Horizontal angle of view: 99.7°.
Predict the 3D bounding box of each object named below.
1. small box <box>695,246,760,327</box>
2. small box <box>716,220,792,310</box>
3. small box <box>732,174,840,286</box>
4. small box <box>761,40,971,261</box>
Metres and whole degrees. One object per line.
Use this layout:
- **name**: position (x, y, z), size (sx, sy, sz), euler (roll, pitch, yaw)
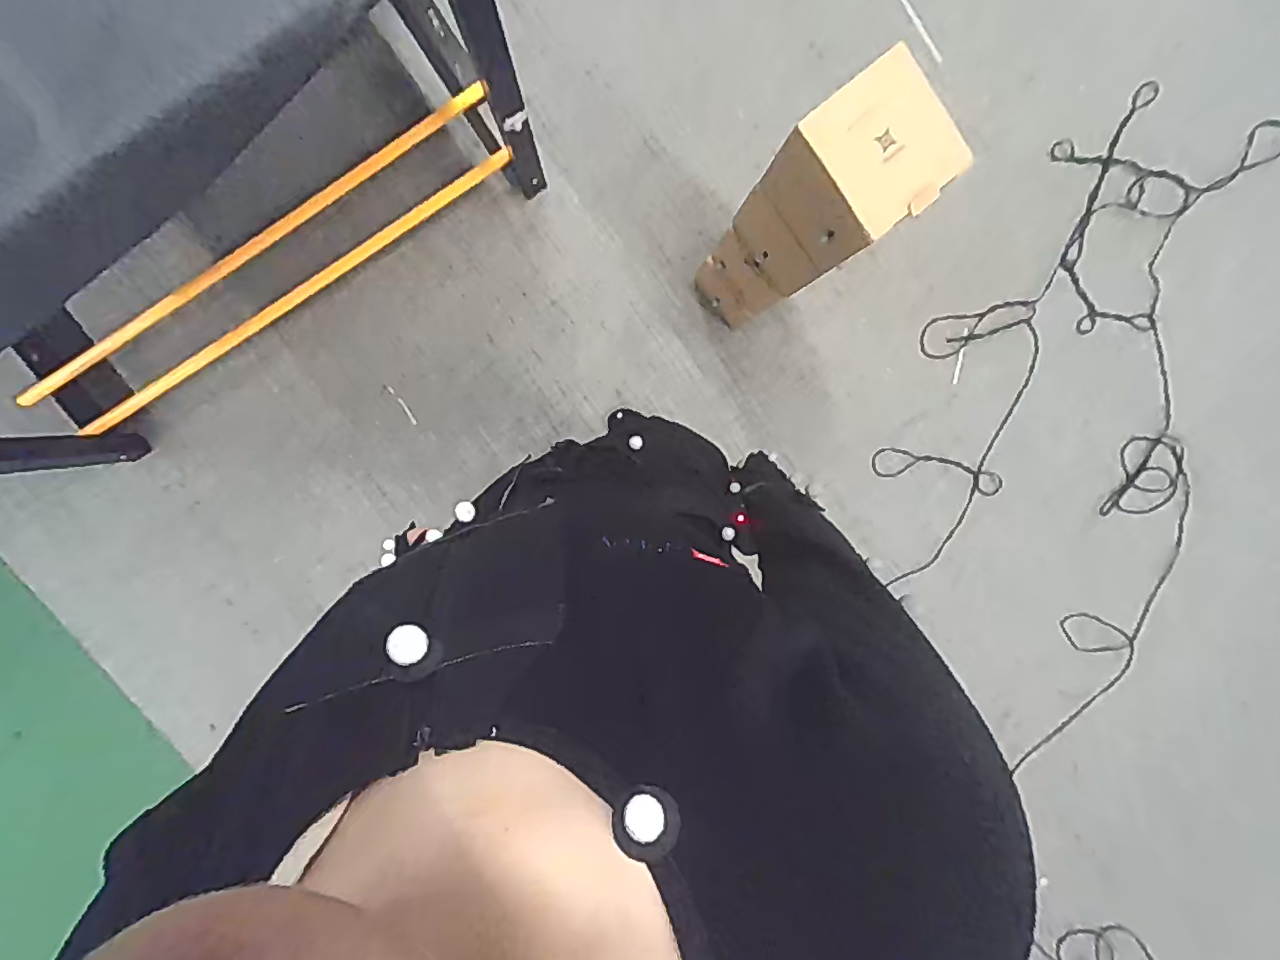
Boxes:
- **small box**: position (0.247, -0.477, 1.235), size (0.179, 0.176, 0.168), euler (-40, 97, 2)
- **small box**: position (0.269, -0.465, 1.072), size (0.179, 0.176, 0.168), euler (-40, 98, 0)
- **small box**: position (0.283, -0.450, 0.910), size (0.168, 0.176, 0.179), euler (-39, 98, 1)
- **small box**: position (0.298, -0.431, 0.749), size (0.168, 0.176, 0.179), euler (-39, 97, 0)
